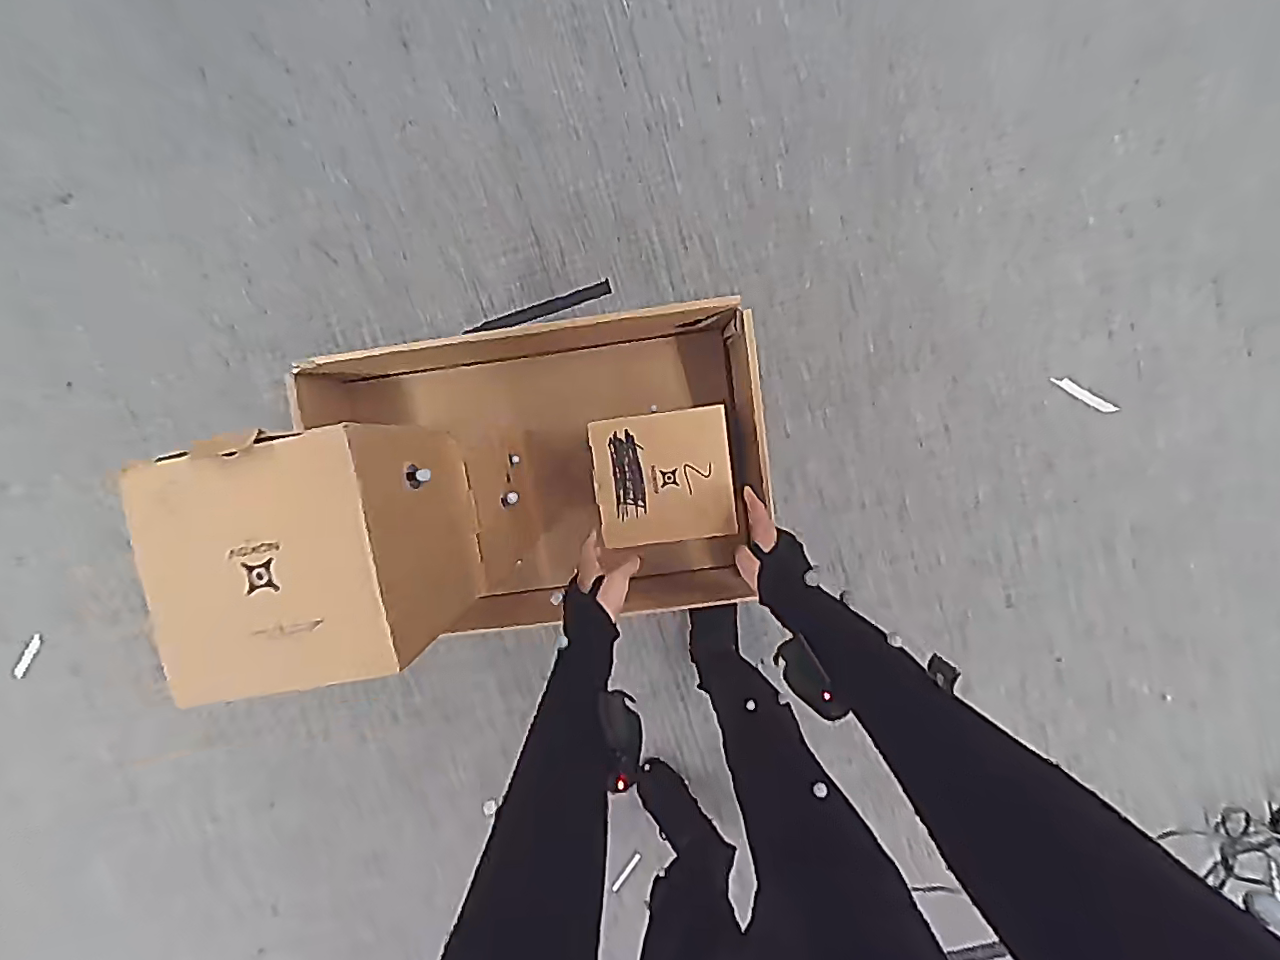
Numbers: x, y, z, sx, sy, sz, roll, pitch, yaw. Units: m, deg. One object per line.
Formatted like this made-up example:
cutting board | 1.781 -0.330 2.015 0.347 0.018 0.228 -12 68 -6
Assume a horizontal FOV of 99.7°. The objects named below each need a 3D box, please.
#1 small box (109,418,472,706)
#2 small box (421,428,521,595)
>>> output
small box | -0.255 0.052 0.440 0.168 0.176 0.179 -10 94 3
small box | -0.247 0.035 0.603 0.179 0.176 0.168 -8 95 1
